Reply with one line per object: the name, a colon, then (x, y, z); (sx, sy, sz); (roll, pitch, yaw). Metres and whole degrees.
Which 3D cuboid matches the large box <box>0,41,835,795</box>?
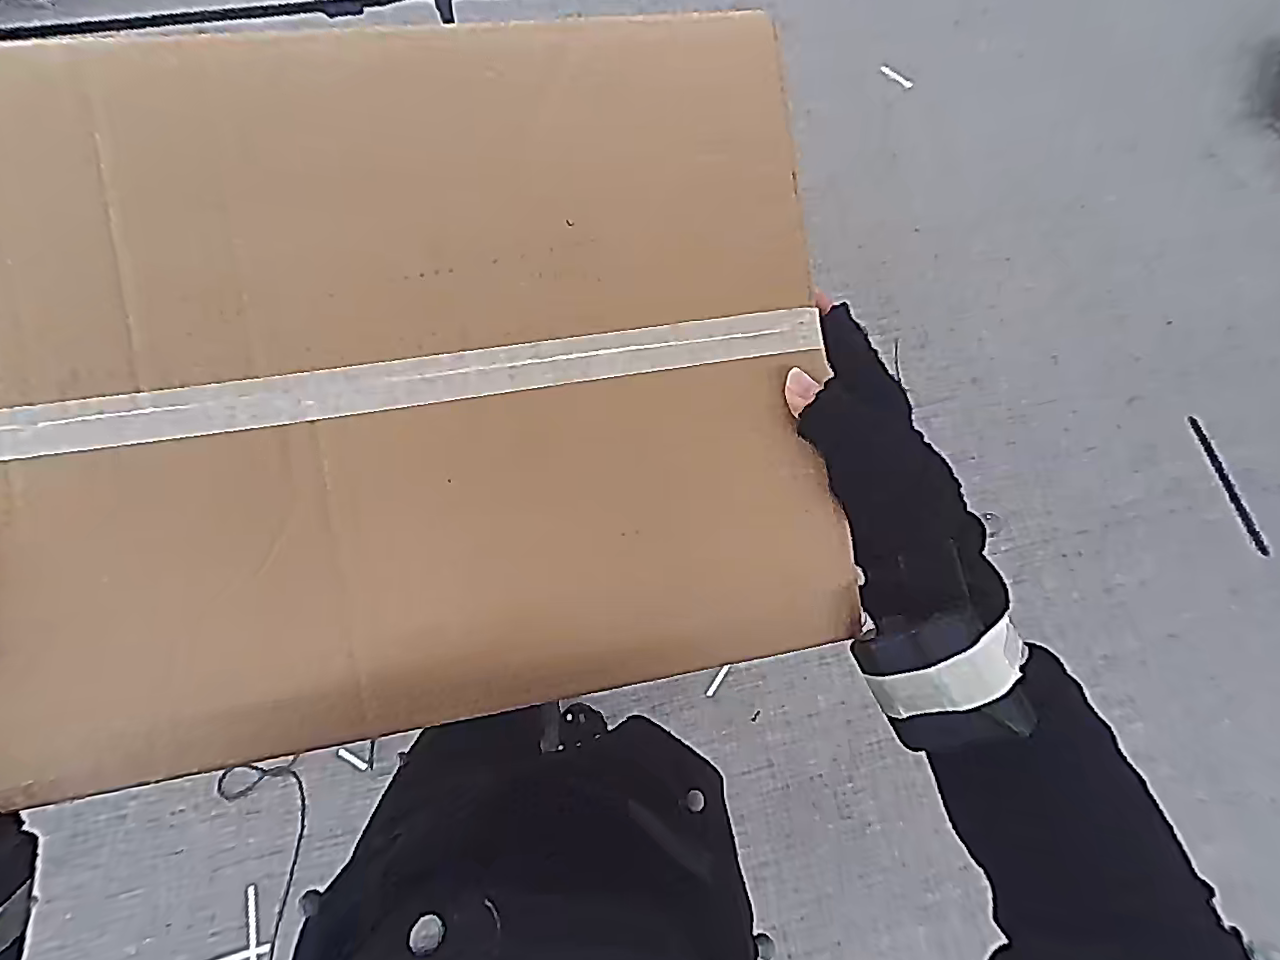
large box: (-0.129, -0.046, 0.404); (0.408, 0.320, 0.320); (-9, 91, -8)
